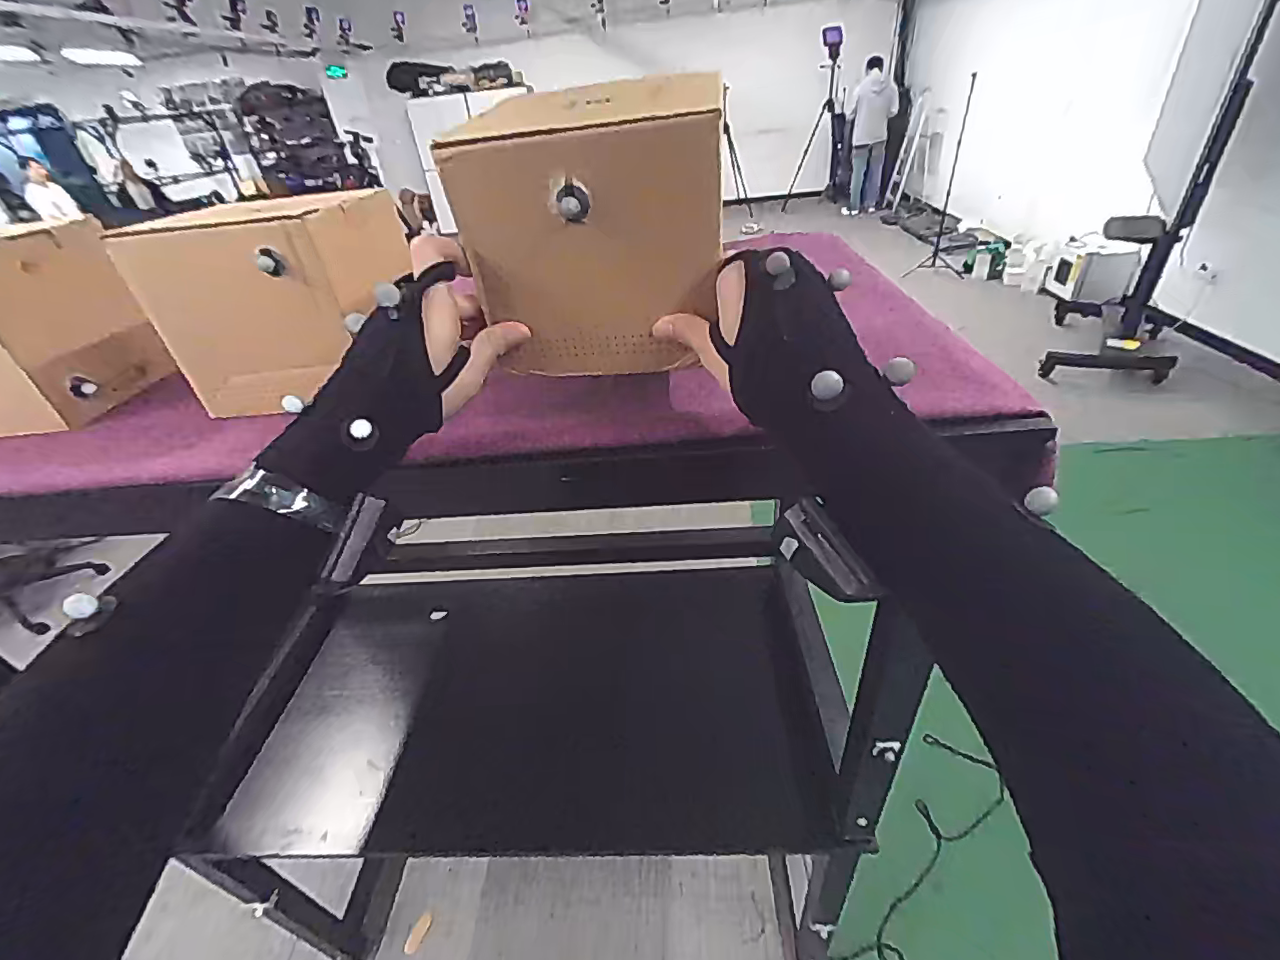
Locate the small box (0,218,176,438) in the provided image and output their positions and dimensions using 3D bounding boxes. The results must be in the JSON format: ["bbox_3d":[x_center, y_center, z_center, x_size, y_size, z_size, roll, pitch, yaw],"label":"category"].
[{"bbox_3d":[-0.642,-0.150,0.548,0.179,0.176,0.168,-5,35,3],"label":"small box"}]

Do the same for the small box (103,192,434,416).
[{"bbox_3d":[-0.334,-0.173,0.533,0.179,0.176,0.168,-4,35,4],"label":"small box"}]

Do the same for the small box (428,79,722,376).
[{"bbox_3d":[-0.026,-0.192,0.423,0.179,0.176,0.168,0,43,9],"label":"small box"}]
